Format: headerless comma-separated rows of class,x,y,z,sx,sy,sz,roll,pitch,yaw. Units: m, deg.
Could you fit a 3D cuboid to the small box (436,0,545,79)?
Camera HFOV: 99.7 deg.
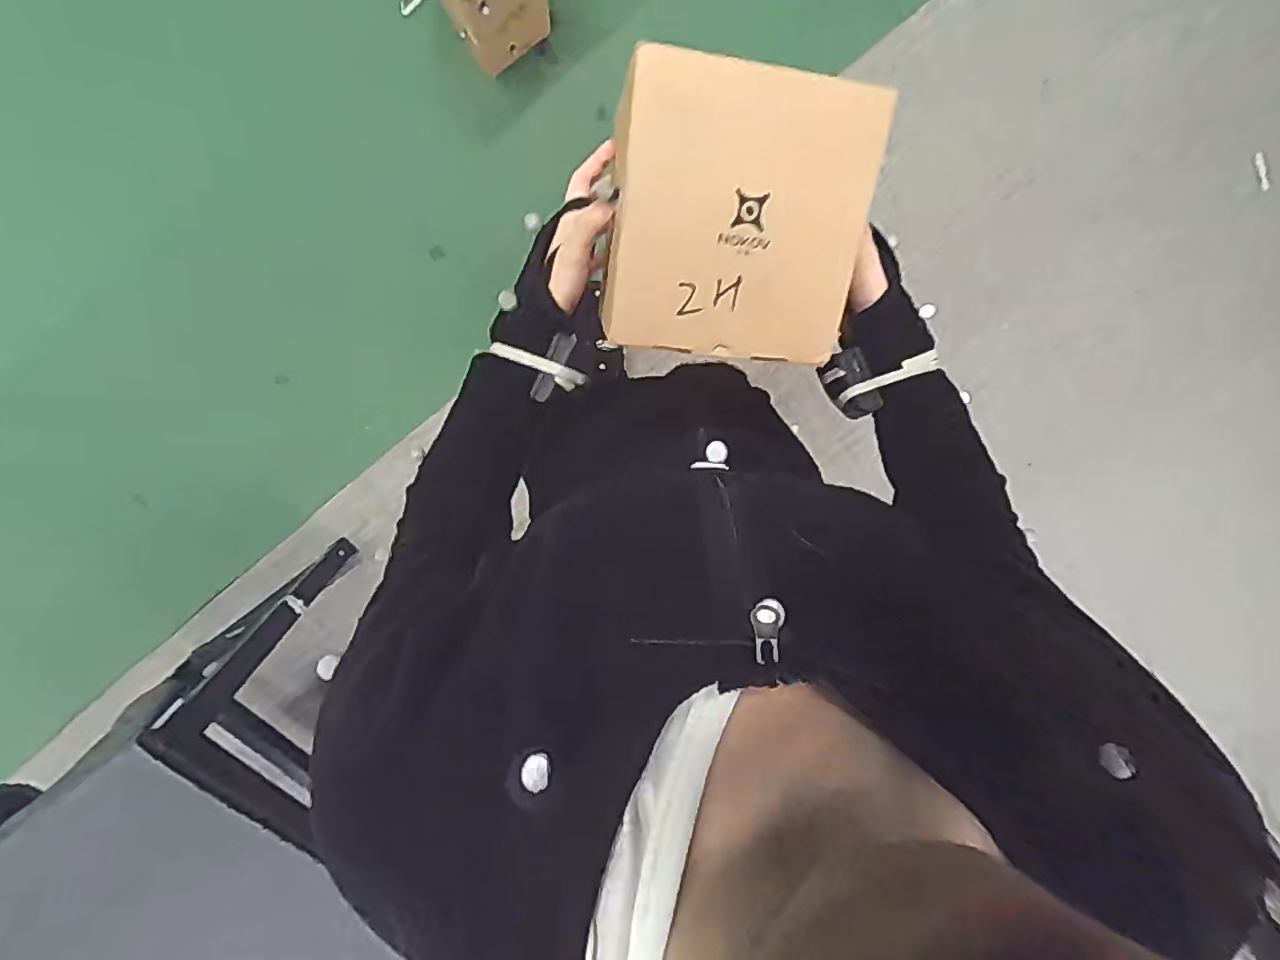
small box,-0.305,-0.959,1.079,0.168,0.176,0.179,-35,110,5

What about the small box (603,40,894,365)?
small box,0.062,-0.204,0.433,0.168,0.176,0.179,4,114,-9
